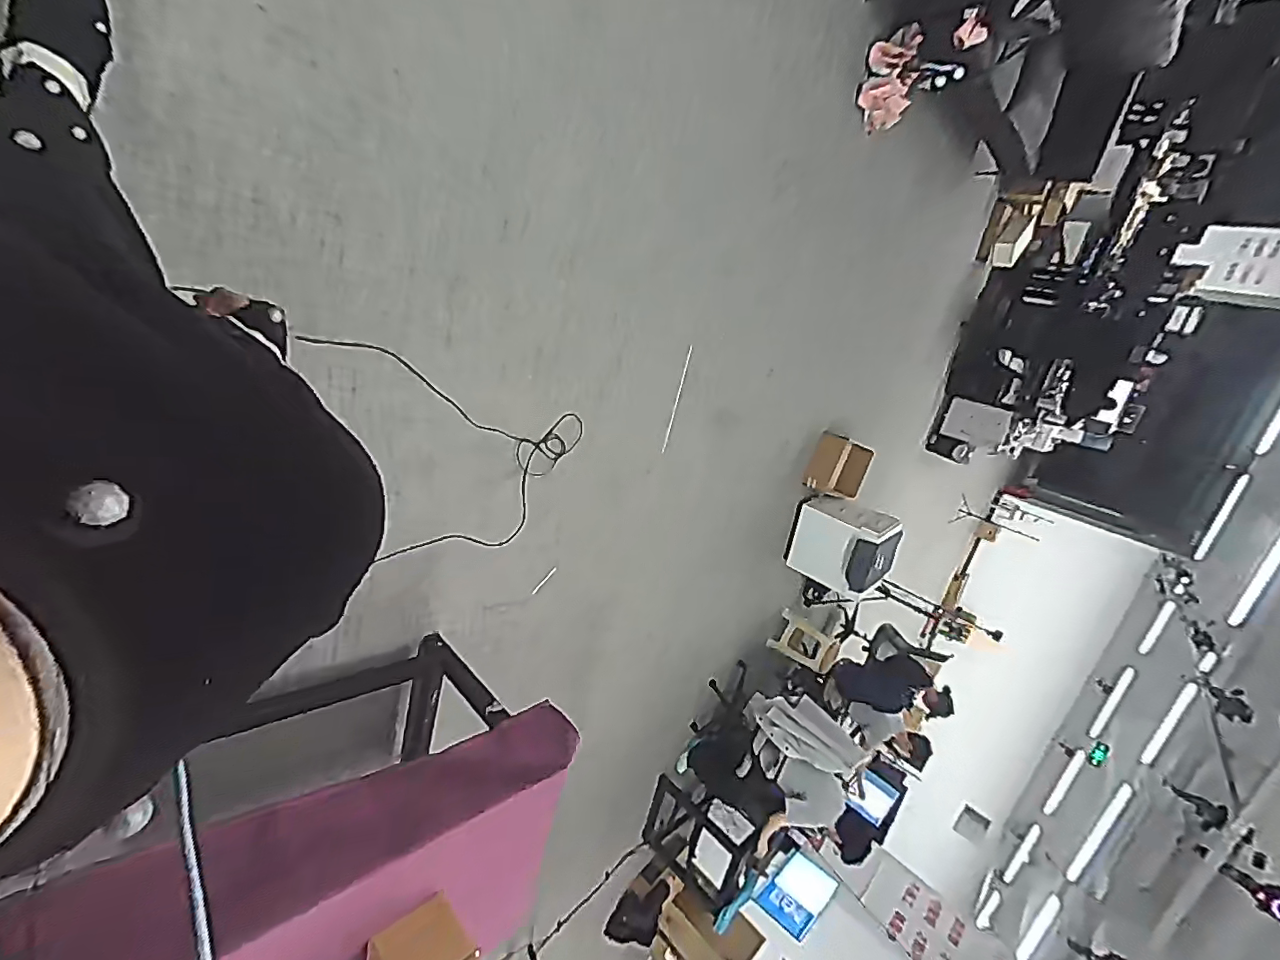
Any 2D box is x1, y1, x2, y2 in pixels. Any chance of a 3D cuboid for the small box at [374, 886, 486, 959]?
[{"bbox_3d":[-0.482,1.087,1.231,0.179,0.176,0.168,-5,116,-46],"label":"small box"}]
